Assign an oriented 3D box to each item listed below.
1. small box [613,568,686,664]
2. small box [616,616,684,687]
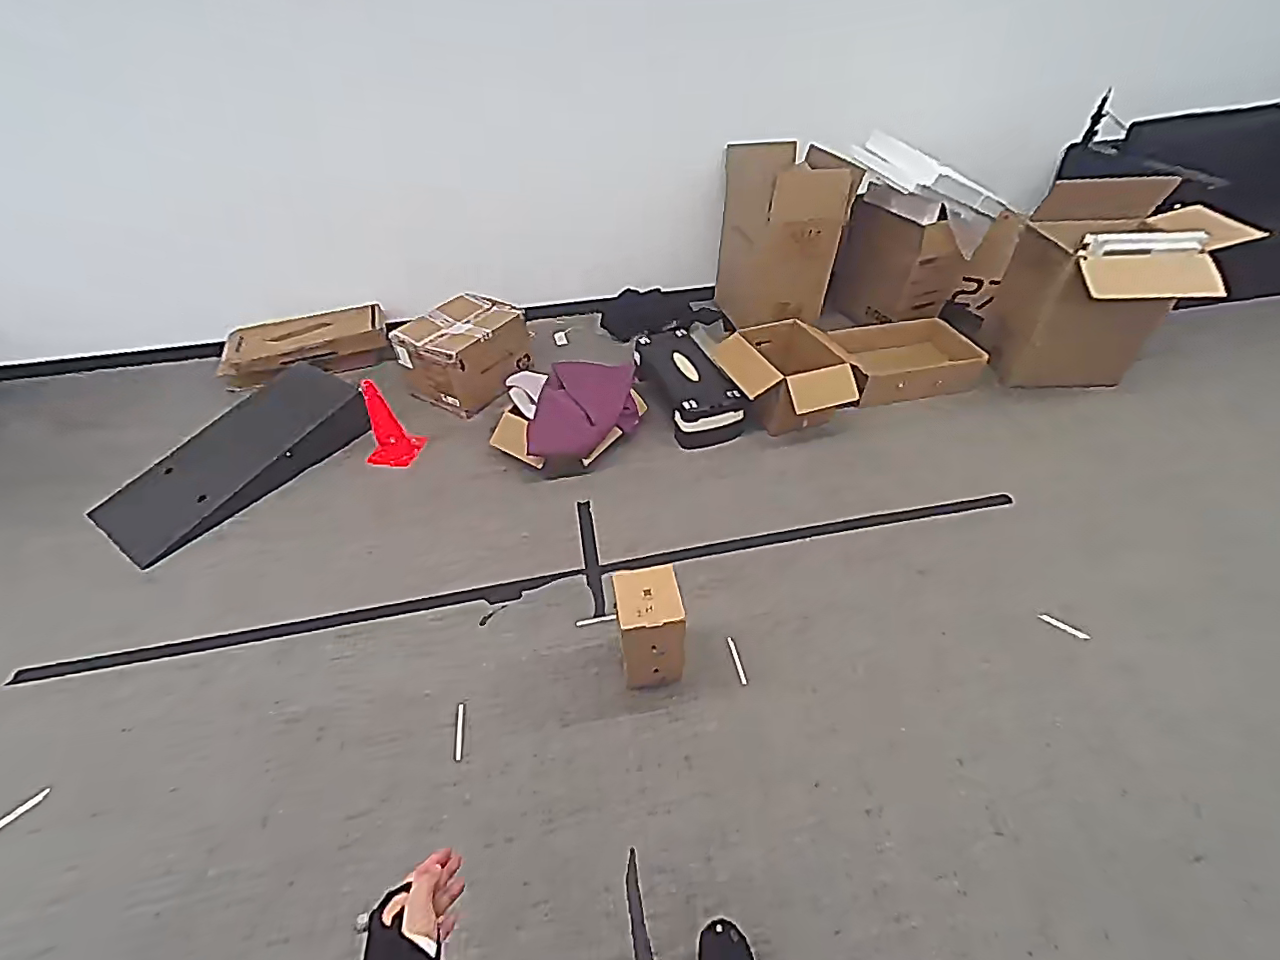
[{"bbox_3d":[0.022,0.362,1.440,0.168,0.176,0.179,-8,44,-6],"label":"small box"},{"bbox_3d":[0.029,0.477,1.559,0.168,0.176,0.179,-9,44,-7],"label":"small box"}]
